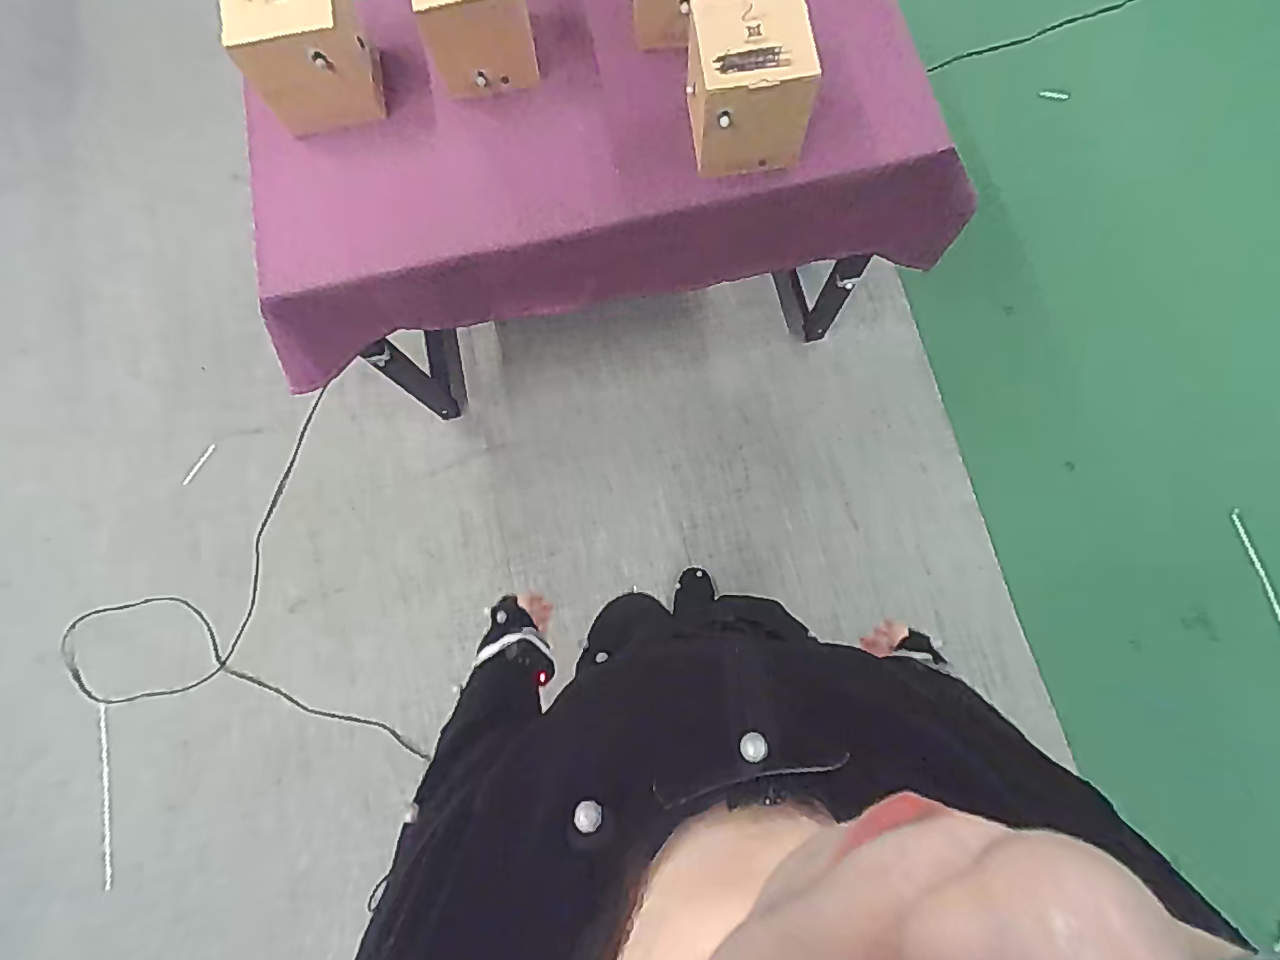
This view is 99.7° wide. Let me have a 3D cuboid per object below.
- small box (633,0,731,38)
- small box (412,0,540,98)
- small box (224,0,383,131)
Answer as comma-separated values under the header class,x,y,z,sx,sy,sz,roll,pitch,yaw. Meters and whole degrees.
class,x,y,z,sx,sy,sz,roll,pitch,yaw
small box,0.068,-0.892,0.914,0.168,0.176,0.179,-5,79,2
small box,-0.278,-0.803,0.918,0.168,0.176,0.179,-11,79,2
small box,-0.558,-0.738,0.918,0.179,0.176,0.168,-11,78,1
